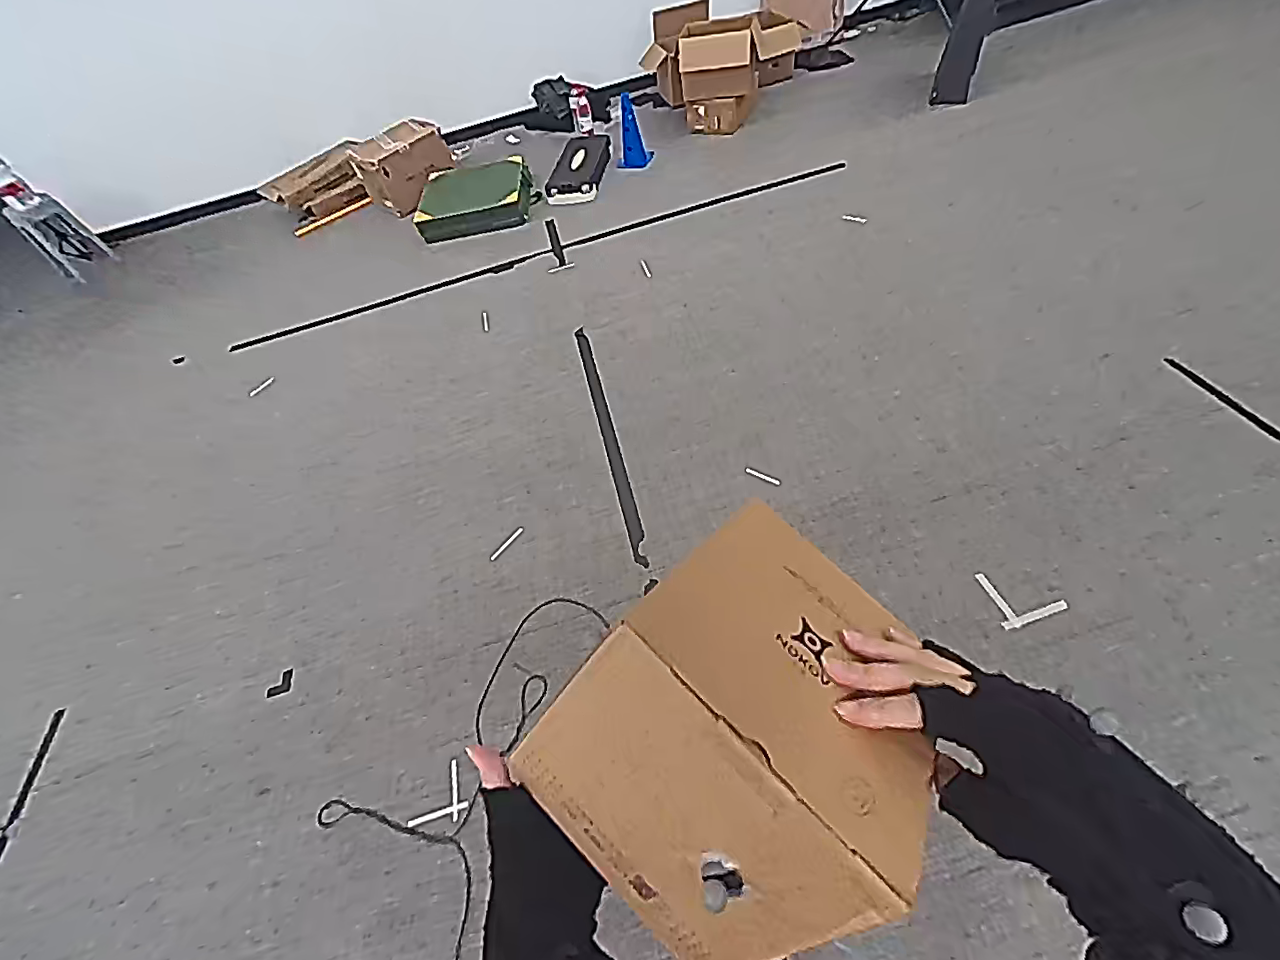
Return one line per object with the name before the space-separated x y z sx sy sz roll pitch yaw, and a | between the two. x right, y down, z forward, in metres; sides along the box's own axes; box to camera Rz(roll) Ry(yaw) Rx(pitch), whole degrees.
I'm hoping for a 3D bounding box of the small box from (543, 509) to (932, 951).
small box | 0.057 0.156 0.360 0.168 0.176 0.179 41 35 12
